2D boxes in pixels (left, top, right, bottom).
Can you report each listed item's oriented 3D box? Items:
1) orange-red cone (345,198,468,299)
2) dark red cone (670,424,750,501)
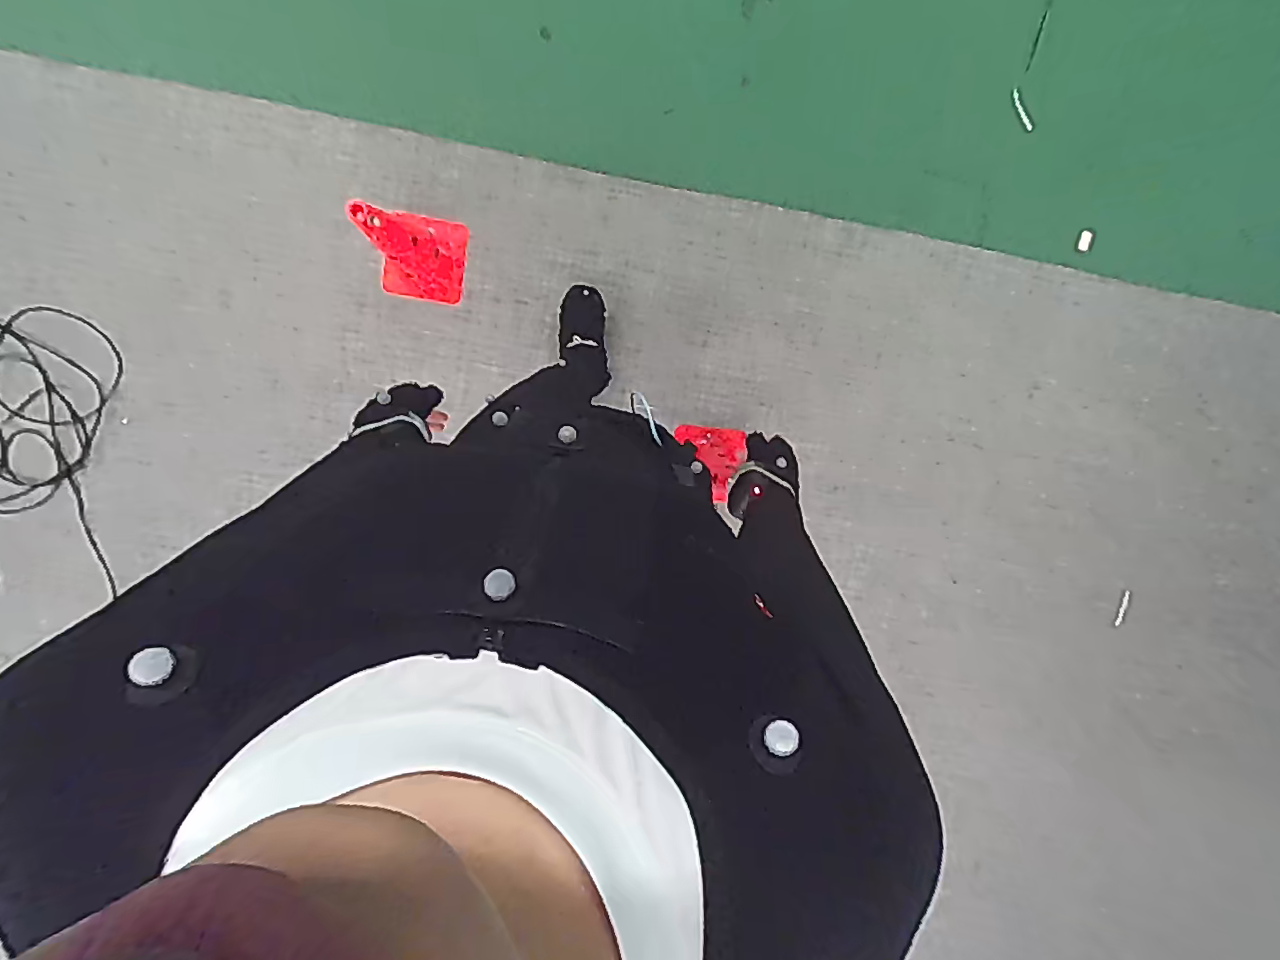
[{"bbox_3d":[-0.536,-0.539,1.188,0.198,0.360,0.199,10,100,-2],"label":"orange-red cone"},{"bbox_3d":[0.188,-0.023,1.271,0.202,0.394,0.201,5,98,-2],"label":"dark red cone"}]
